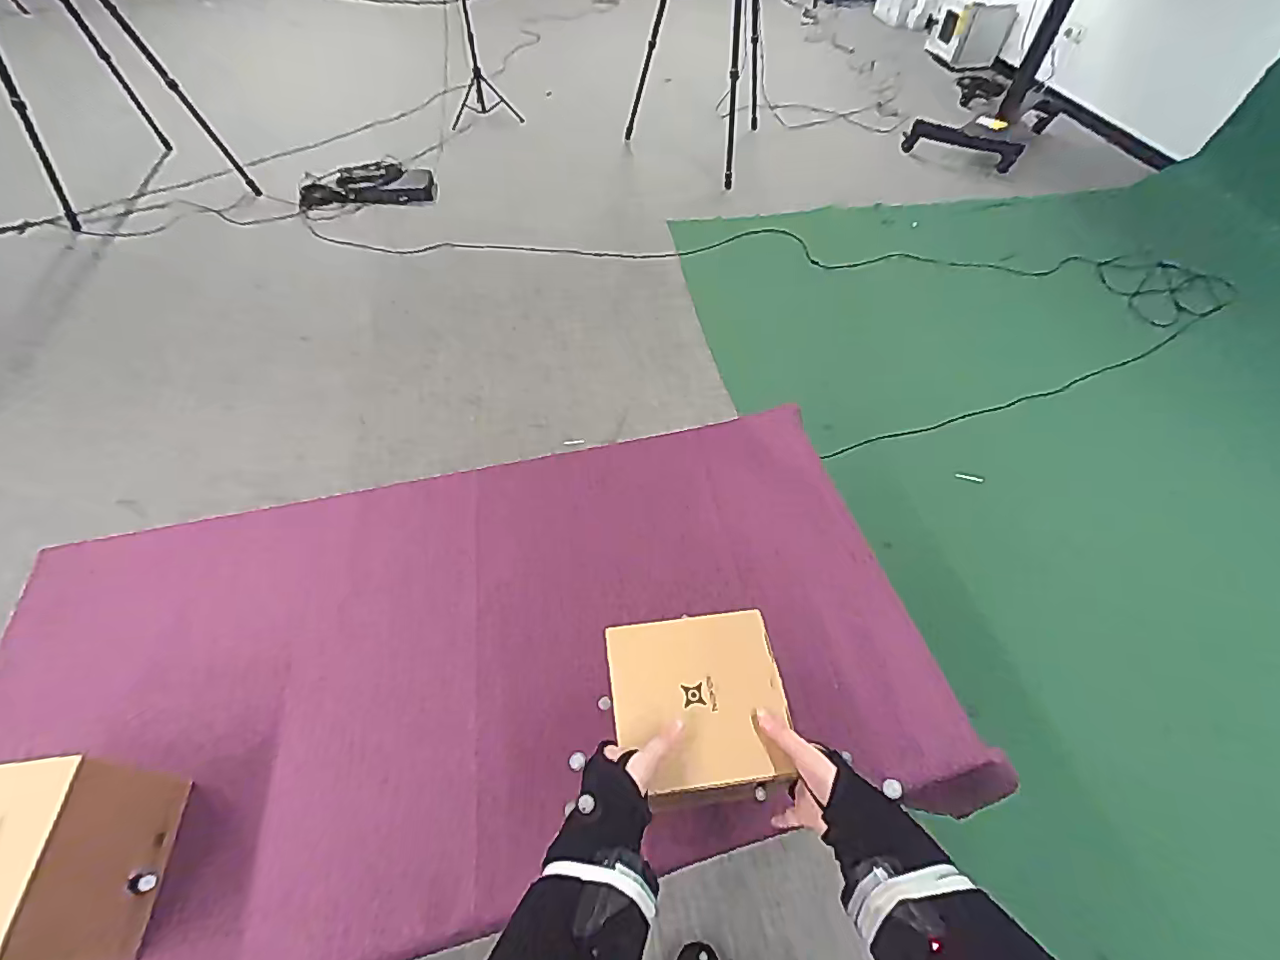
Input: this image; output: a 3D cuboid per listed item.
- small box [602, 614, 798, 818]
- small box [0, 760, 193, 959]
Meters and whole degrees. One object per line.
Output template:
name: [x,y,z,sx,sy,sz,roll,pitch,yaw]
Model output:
small box: [0.054,0.271,0.613,0.179,0.176,0.168,-5,54,-6]
small box: [-0.594,0.382,0.516,0.179,0.176,0.168,-5,54,-6]
